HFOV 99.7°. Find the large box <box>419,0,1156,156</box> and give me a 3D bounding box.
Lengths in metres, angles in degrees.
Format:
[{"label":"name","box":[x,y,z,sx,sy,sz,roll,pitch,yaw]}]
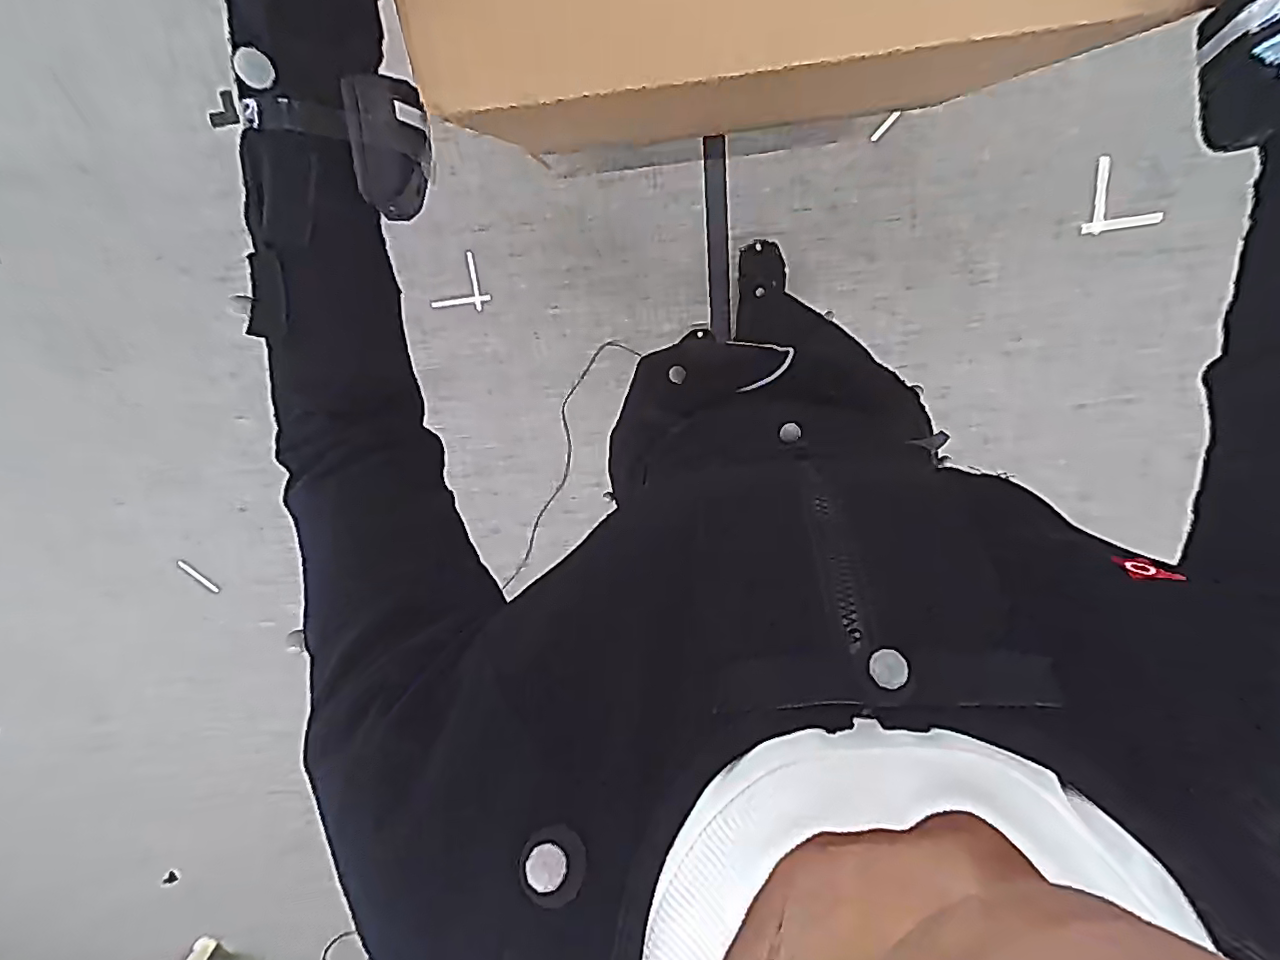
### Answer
[{"label":"large box","box":[0.070,-0.429,0.353,0.408,0.320,0.320,-5,118,5]}]
